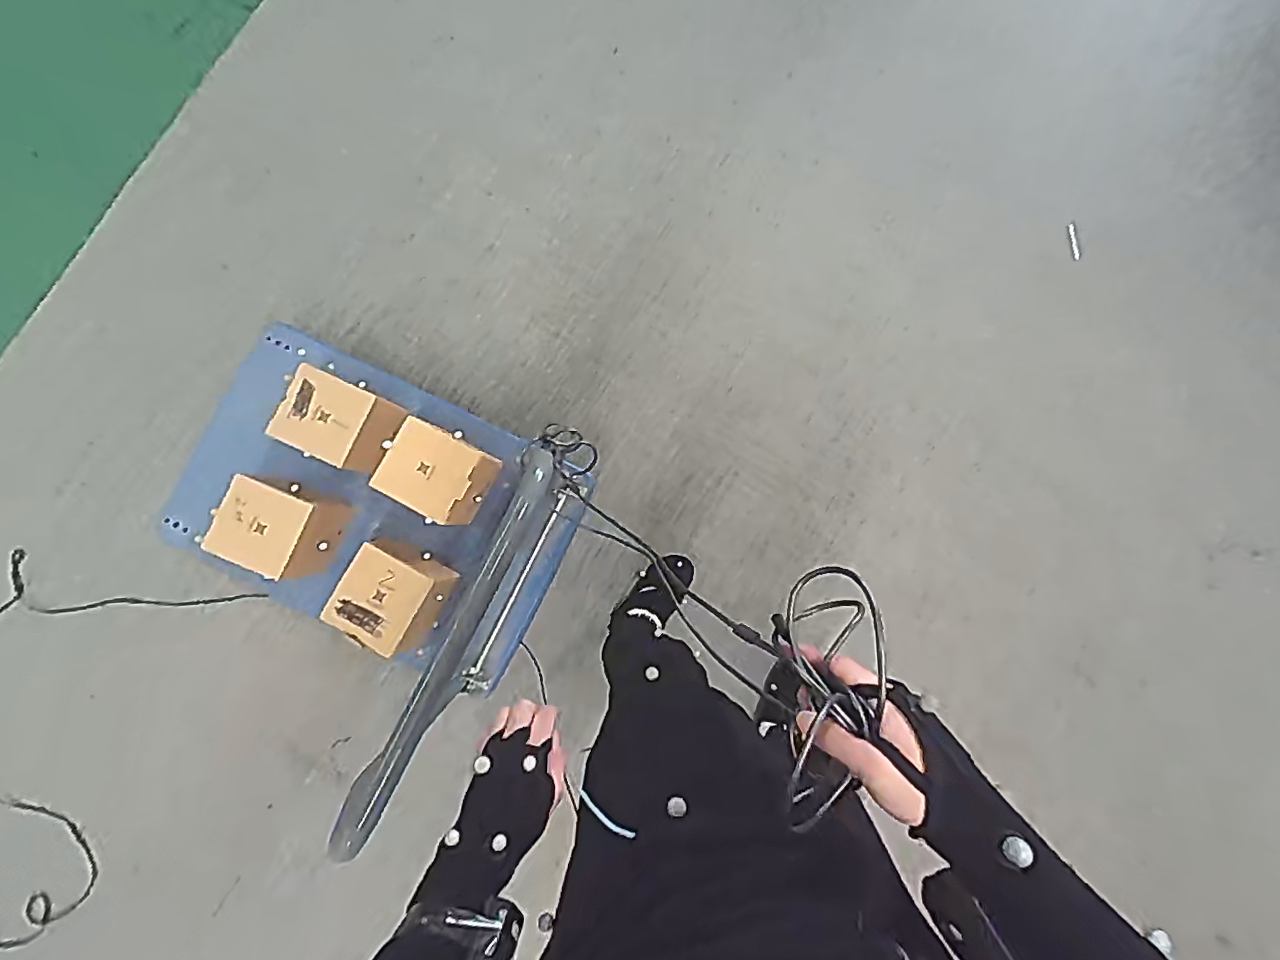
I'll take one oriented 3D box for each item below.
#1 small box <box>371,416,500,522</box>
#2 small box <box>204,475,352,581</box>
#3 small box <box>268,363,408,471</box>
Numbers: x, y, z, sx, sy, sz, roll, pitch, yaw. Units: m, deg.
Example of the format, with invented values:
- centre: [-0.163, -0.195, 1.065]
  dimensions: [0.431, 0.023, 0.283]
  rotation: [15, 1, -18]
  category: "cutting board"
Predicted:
- centre: [-0.433, -0.015, 1.175]
  dimensions: [0.179, 0.176, 0.168]
  rotation: [28, 86, 2]
  category: "small box"
- centre: [-0.763, 0.101, 1.164]
  dimensions: [0.179, 0.176, 0.168]
  rotation: [23, 85, 2]
  category: "small box"
- centre: [-0.648, -0.127, 1.181]
  dimensions: [0.179, 0.176, 0.168]
  rotation: [25, 87, 1]
  category: "small box"
